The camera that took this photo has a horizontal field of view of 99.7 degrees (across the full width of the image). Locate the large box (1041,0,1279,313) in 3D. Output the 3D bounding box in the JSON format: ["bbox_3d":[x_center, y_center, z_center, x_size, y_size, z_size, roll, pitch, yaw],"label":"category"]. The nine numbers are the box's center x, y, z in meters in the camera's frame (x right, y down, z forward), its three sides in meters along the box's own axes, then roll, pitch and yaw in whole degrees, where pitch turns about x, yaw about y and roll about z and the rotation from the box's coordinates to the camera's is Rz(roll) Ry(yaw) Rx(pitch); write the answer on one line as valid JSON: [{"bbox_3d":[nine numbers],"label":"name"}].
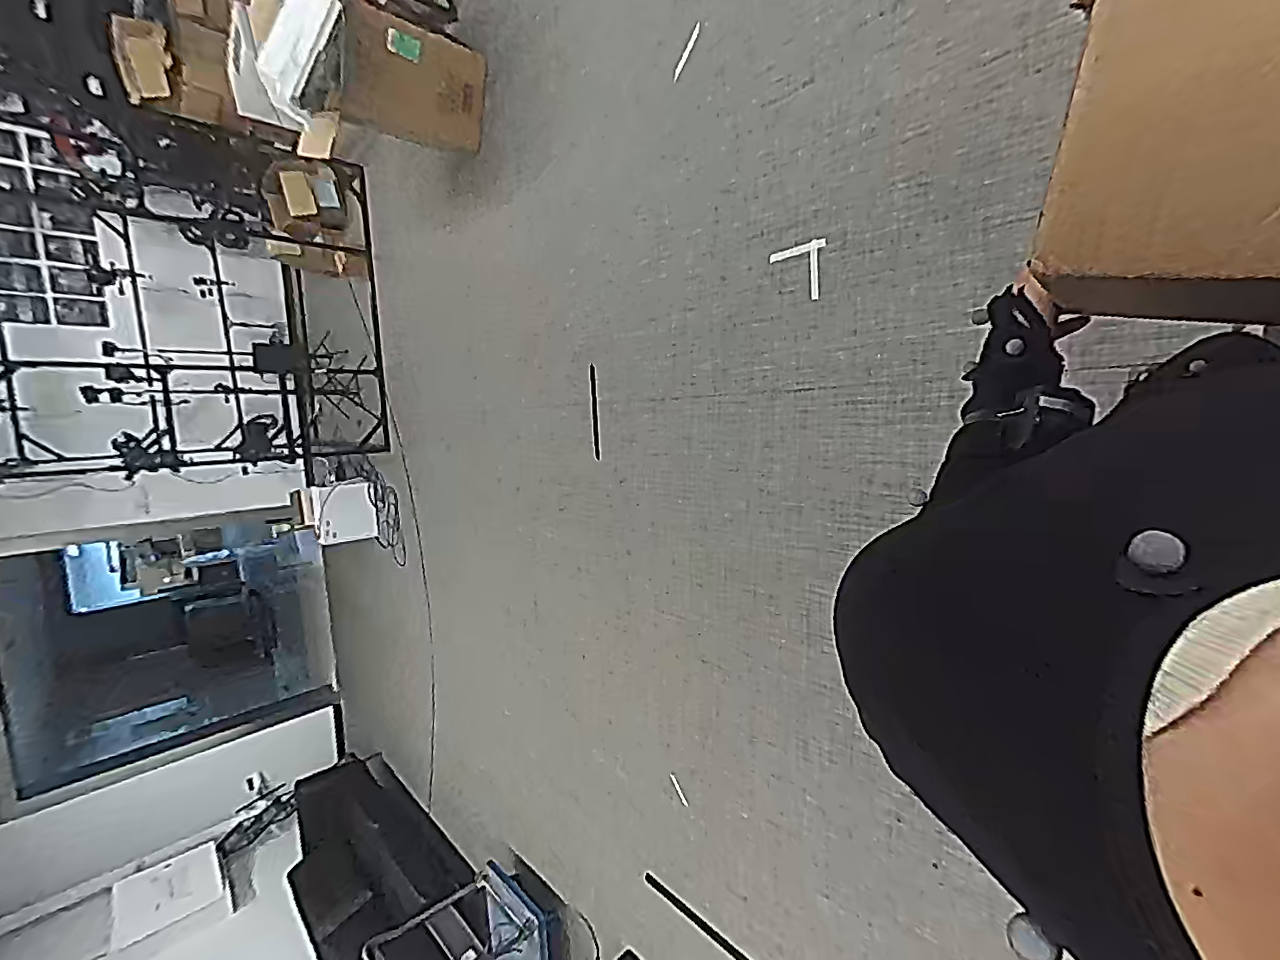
[{"bbox_3d":[0.470,-0.245,0.249,0.408,0.320,0.320,17,111,36],"label":"large box"}]
